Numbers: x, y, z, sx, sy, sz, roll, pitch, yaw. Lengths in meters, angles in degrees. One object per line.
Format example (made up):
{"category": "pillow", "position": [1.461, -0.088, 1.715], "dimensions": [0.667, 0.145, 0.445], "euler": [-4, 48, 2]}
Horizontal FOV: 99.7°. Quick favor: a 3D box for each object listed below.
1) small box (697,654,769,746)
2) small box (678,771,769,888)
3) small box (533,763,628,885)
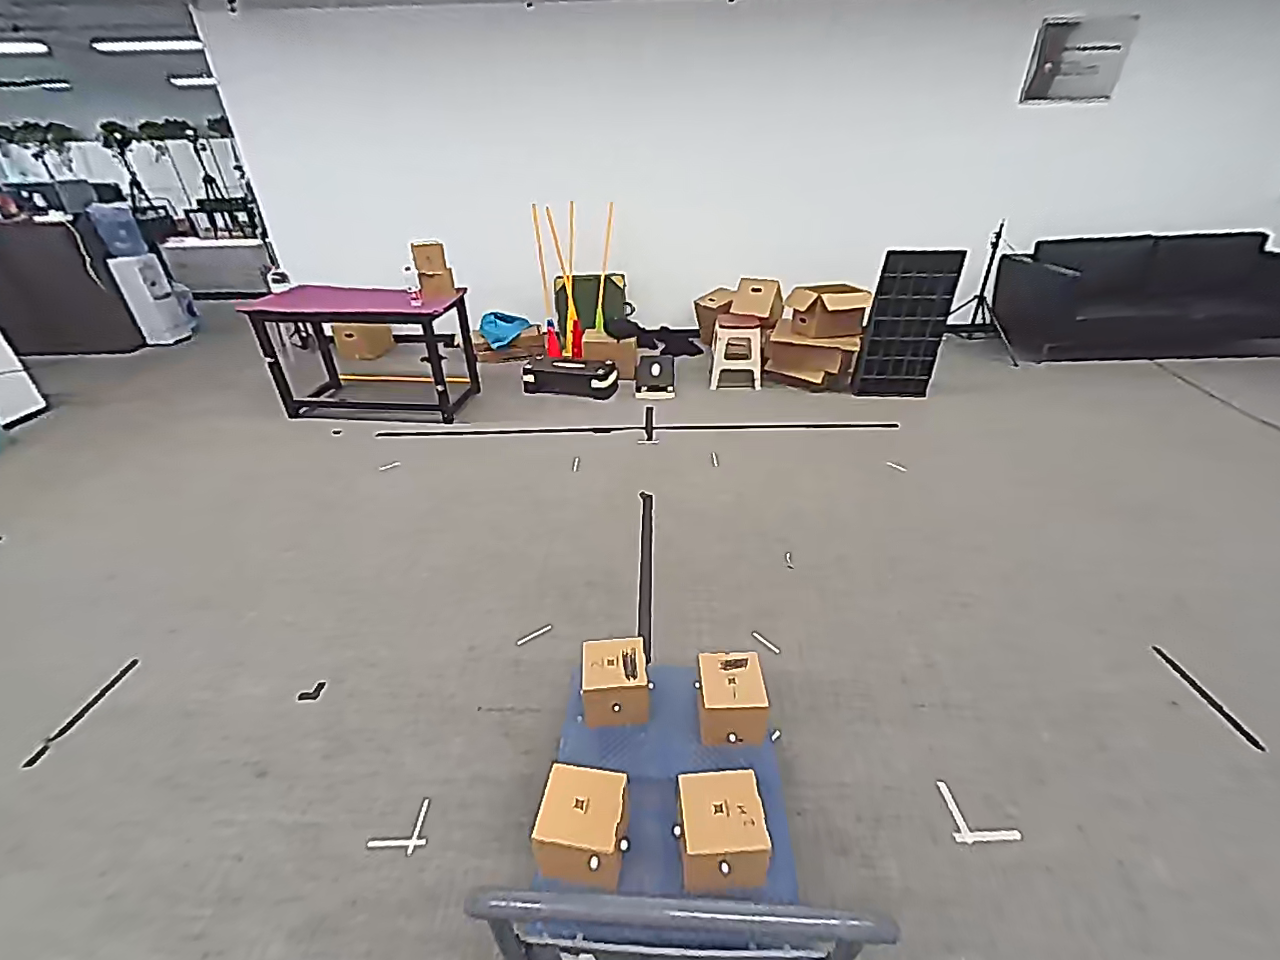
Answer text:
{"category": "small box", "position": [0.248, 0.603, 1.487], "dimensions": [0.168, 0.176, 0.179], "euler": [-1, 33, 1]}
{"category": "small box", "position": [0.178, 0.780, 1.205], "dimensions": [0.179, 0.176, 0.168], "euler": [-2, 32, -2]}
{"category": "small box", "position": [-0.126, 0.776, 1.221], "dimensions": [0.179, 0.176, 0.168], "euler": [5, 32, 7]}
